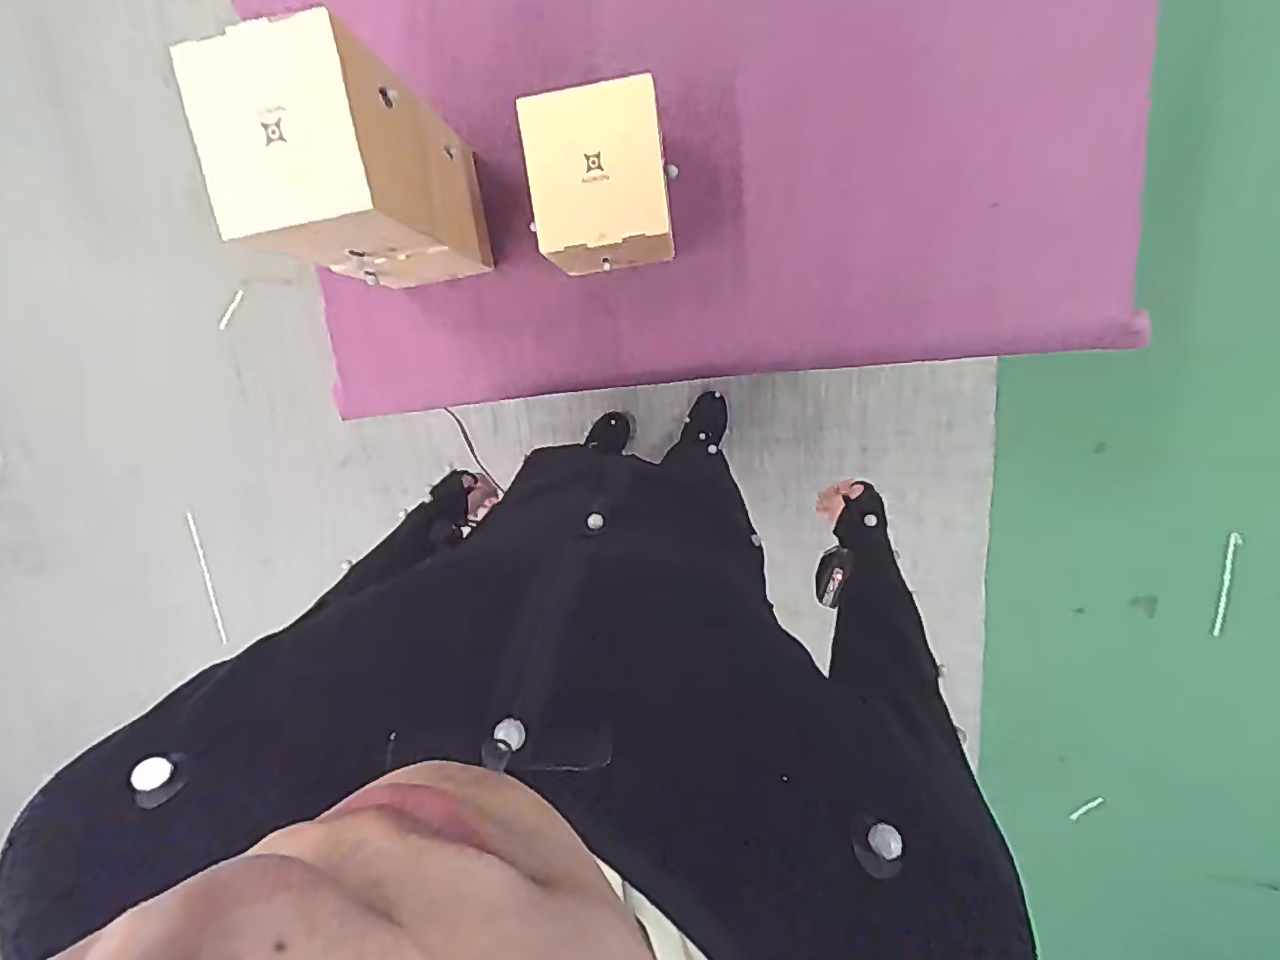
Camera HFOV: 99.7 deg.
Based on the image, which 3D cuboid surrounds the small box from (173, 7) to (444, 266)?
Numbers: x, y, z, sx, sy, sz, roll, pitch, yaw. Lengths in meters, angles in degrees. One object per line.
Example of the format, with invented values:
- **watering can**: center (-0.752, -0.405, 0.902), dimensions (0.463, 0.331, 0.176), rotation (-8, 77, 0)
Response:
- **small box**: center (-0.338, -0.350, 0.590), dimensions (0.168, 0.176, 0.179), rotation (-7, 101, 6)

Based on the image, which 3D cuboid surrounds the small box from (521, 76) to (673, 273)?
- **small box**: center (-0.047, -0.393, 0.728), dimensions (0.168, 0.176, 0.179), rotation (-7, 102, 6)
